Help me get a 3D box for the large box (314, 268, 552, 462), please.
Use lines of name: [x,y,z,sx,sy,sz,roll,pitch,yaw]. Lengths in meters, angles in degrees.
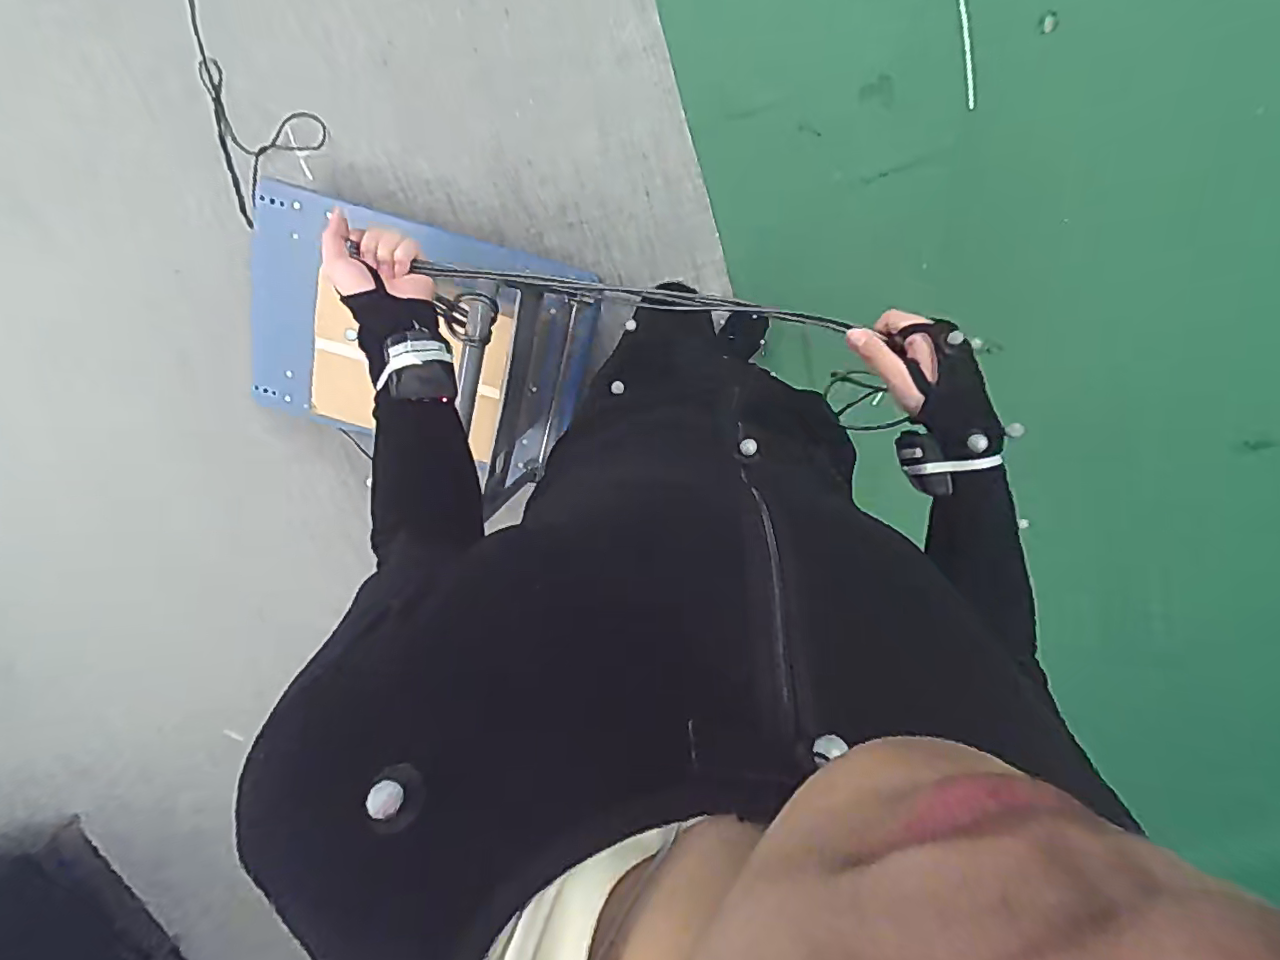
large box: [-0.455,-0.274,1.246,0.408,0.320,0.320,17,109,0]
